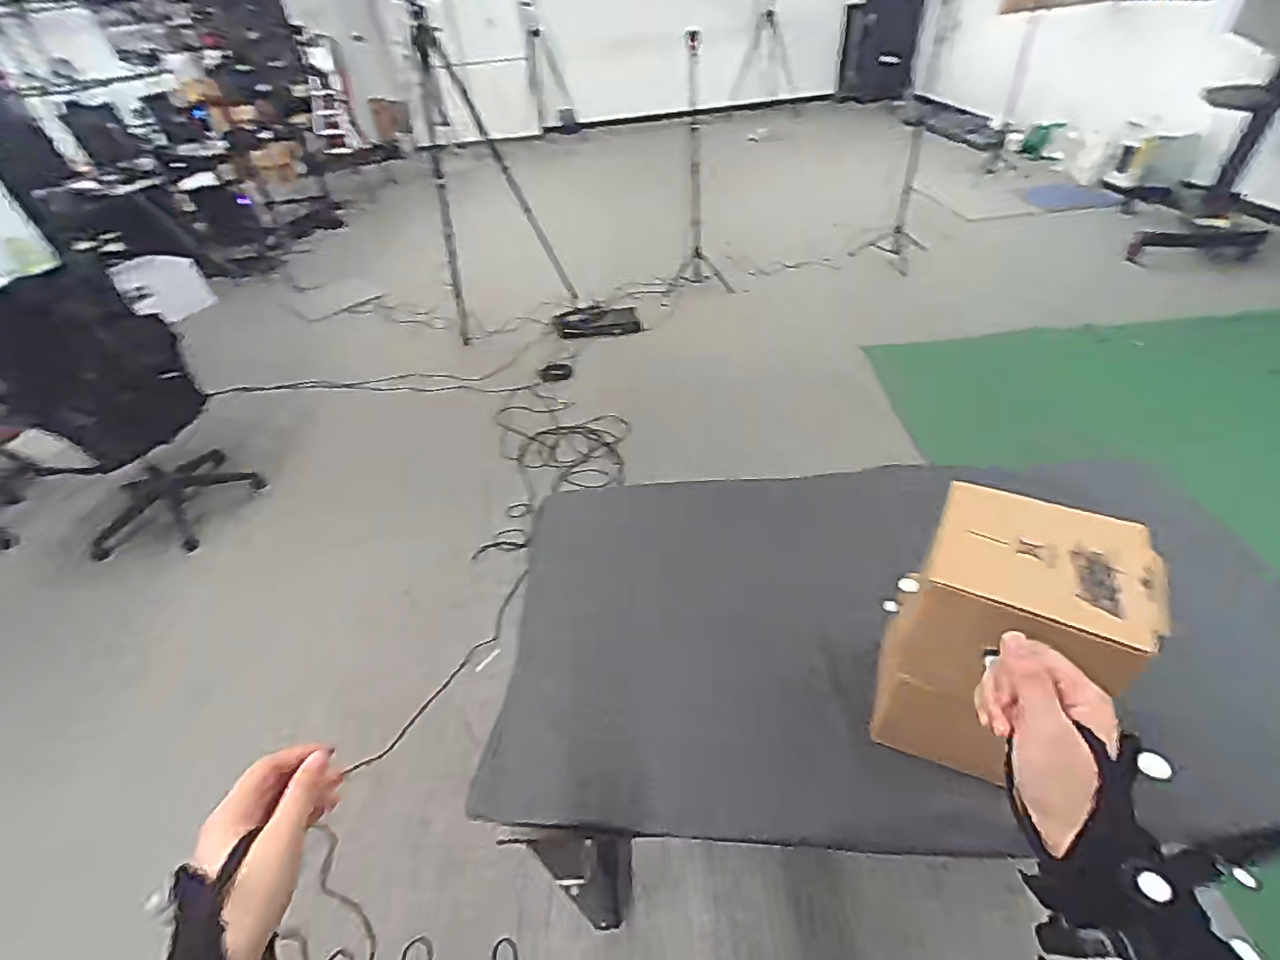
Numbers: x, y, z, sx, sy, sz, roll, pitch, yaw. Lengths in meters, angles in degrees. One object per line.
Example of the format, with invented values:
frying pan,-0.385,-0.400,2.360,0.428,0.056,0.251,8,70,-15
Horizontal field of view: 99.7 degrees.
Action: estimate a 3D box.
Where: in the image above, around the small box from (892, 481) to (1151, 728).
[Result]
small box,0.396,0.134,0.582,0.179,0.176,0.168,19,47,27
